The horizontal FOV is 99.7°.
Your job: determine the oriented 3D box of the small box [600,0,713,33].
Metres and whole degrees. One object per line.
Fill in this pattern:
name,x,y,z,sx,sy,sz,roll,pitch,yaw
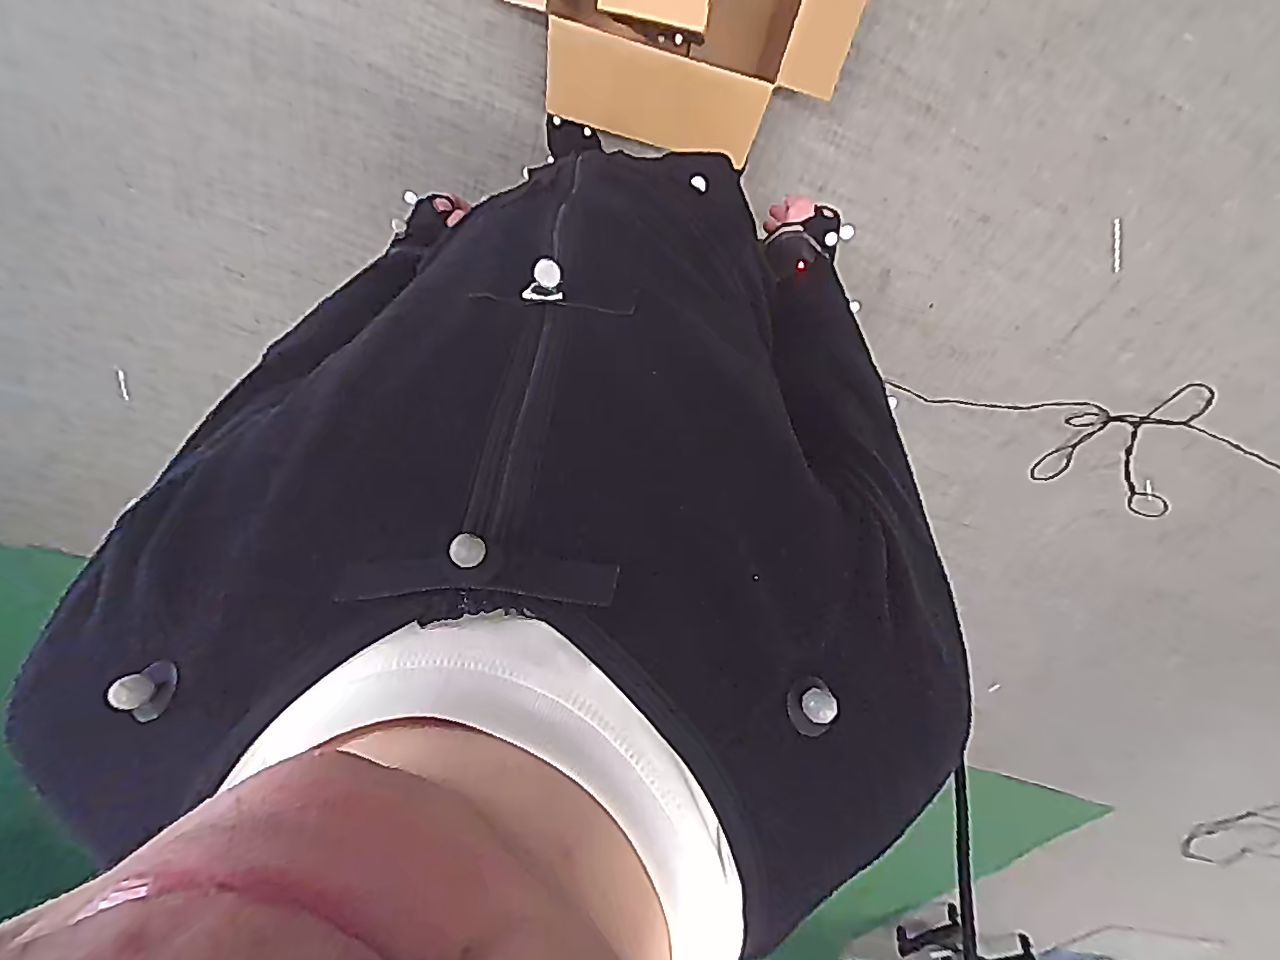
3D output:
small box,0.041,-0.842,0.864,0.179,0.176,0.168,13,124,0
